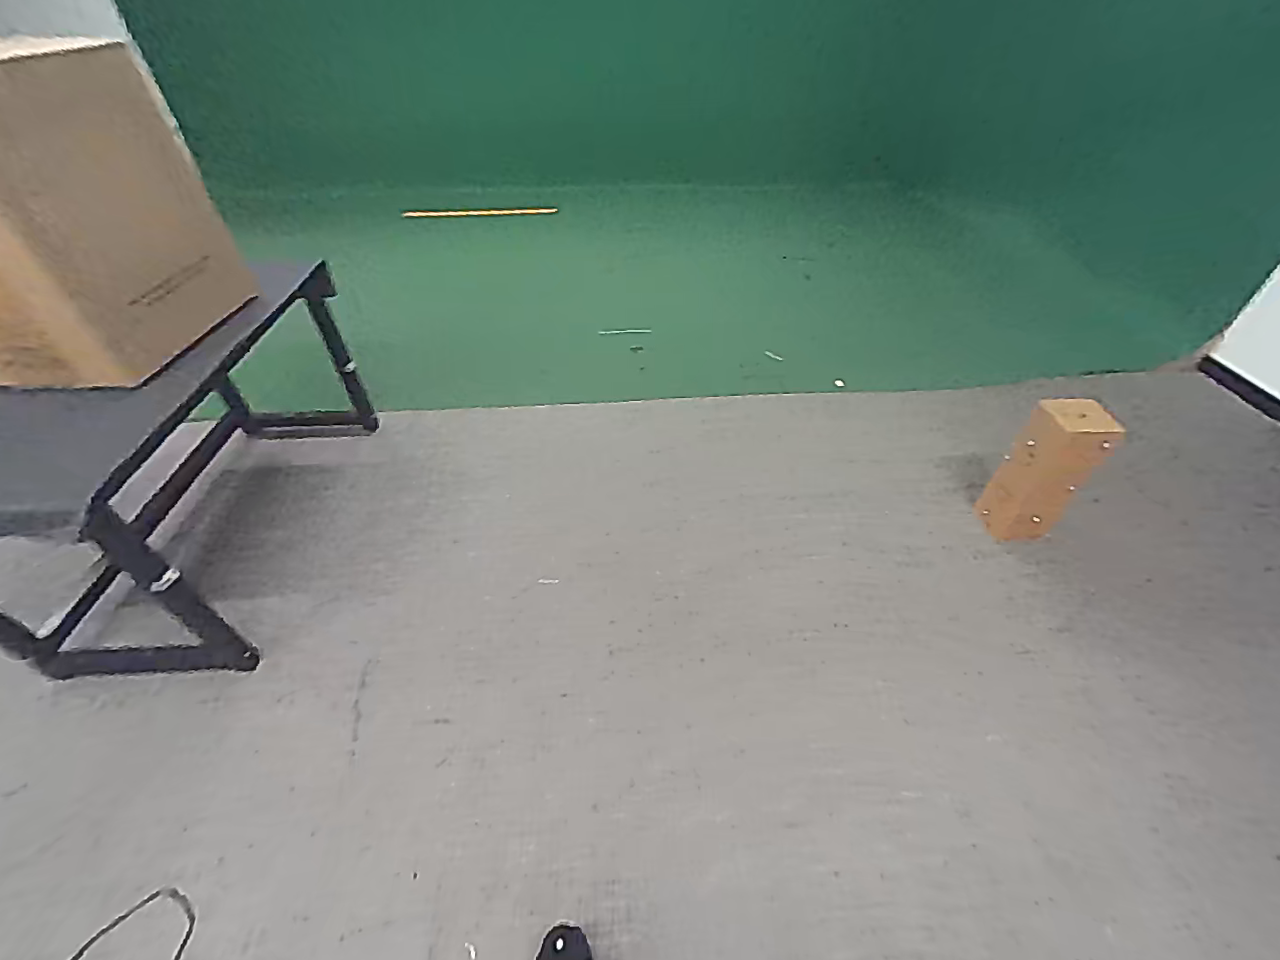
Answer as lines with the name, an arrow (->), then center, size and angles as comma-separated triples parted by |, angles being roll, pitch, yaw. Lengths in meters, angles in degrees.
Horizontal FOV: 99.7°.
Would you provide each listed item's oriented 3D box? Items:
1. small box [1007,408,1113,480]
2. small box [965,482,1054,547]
small box -> 1.328, -0.114, 1.726 | 0.179, 0.176, 0.168 | 0, 43, -1
small box -> 1.325, 0.126, 1.951 | 0.179, 0.176, 0.168 | -3, 44, -3
